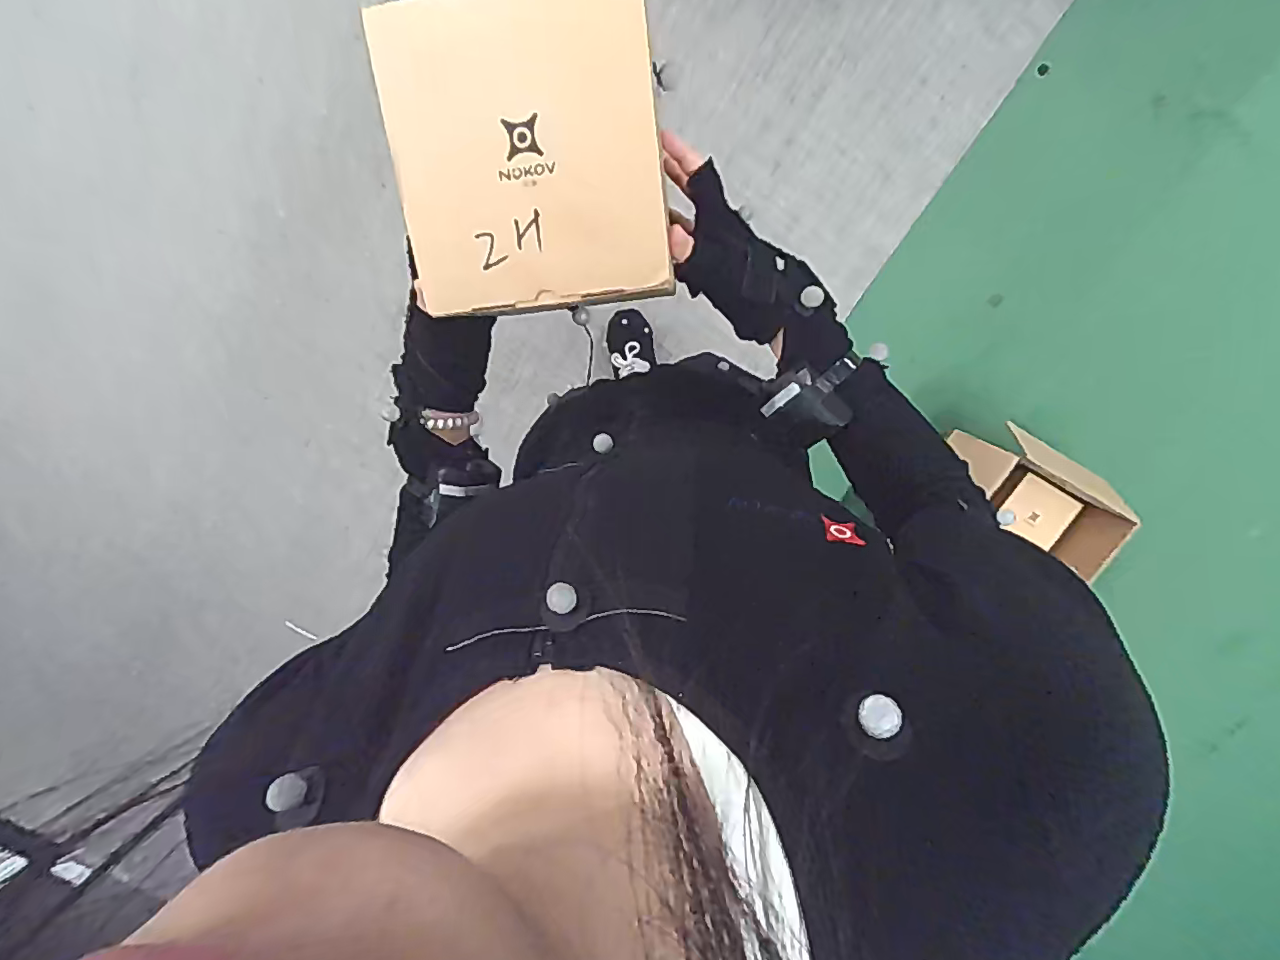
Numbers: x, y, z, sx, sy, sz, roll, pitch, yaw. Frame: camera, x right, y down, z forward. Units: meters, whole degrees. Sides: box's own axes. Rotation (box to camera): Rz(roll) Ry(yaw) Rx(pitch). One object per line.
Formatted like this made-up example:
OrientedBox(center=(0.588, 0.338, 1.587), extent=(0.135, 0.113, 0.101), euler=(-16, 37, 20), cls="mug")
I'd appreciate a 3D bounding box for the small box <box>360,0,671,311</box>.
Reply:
OrientedBox(center=(-0.067, -0.224, 0.402), extent=(0.168, 0.176, 0.179), euler=(-5, 107, 7), cls="small box")
